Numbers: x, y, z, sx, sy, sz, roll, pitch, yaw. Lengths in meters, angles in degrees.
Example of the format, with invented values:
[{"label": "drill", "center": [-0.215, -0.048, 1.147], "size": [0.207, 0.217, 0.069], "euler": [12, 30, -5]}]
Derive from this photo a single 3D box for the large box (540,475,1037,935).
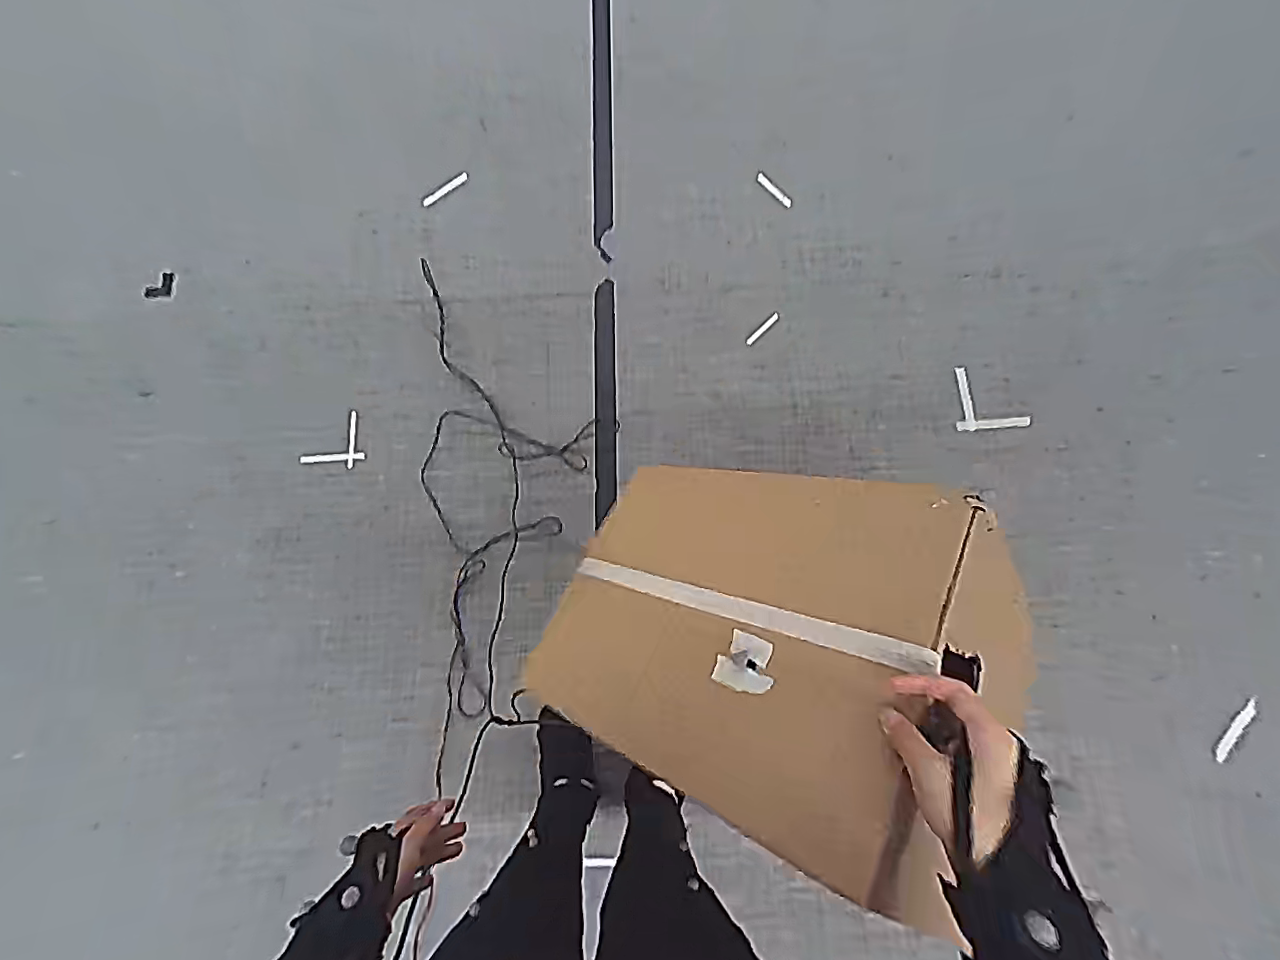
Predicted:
[{"label": "large box", "center": [0.169, 0.214, 0.627], "size": [0.320, 0.408, 0.320], "euler": [46, 64, -35]}]
